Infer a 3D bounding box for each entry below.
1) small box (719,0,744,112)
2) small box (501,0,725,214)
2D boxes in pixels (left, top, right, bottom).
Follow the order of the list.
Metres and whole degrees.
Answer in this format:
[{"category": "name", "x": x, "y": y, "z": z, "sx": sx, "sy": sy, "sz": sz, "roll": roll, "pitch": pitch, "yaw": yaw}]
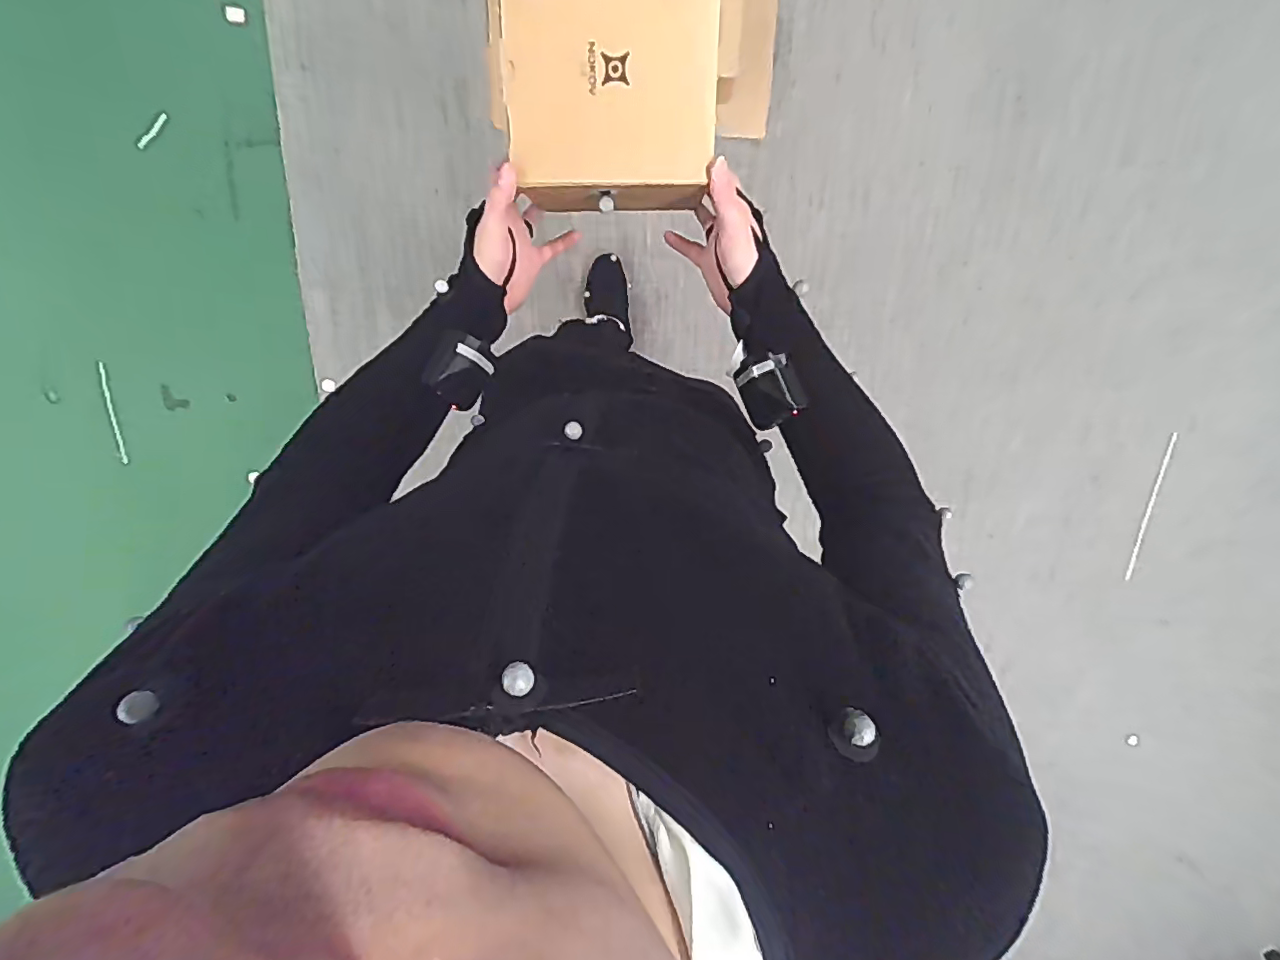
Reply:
[{"category": "small box", "x": 0.134, "y": -0.974, "z": 1.248, "sx": 0.179, "sy": 0.176, "sz": 0.168, "roll": 4, "pitch": 108, "yaw": 1}, {"category": "small box", "x": -0.020, "y": -0.354, "z": 0.510, "sx": 0.179, "sy": 0.176, "sz": 0.168, "roll": 0, "pitch": 109, "yaw": 2}]
